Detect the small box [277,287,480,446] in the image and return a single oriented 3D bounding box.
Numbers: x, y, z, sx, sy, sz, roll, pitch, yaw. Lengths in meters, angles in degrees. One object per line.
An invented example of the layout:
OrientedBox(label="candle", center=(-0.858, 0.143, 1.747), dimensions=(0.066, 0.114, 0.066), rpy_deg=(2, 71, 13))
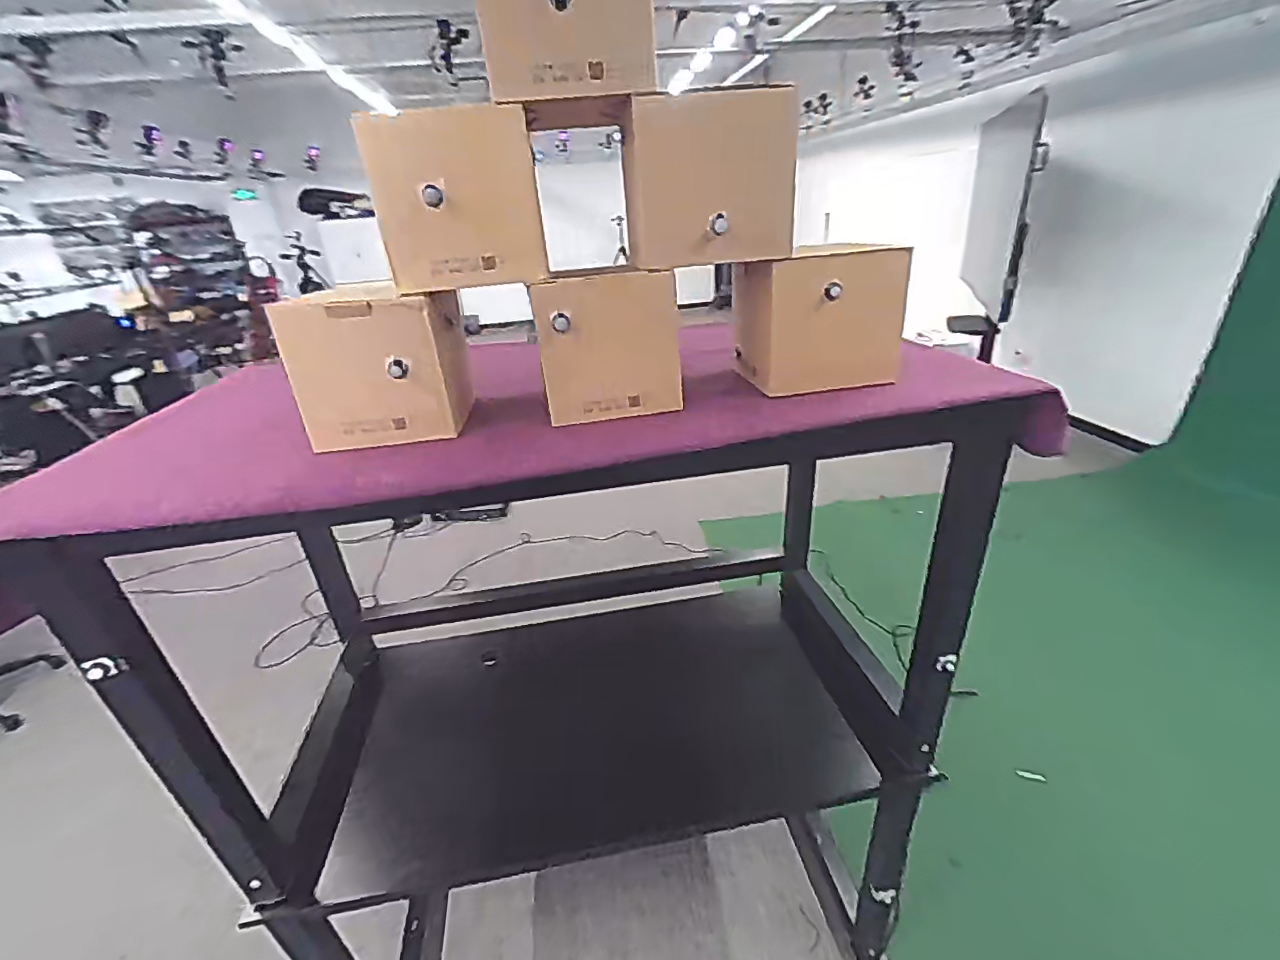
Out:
OrientedBox(label="small box", center=(-0.308, -0.147, 0.685), dimensions=(0.168, 0.176, 0.179), rpy_deg=(-6, 25, -5))

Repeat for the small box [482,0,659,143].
OrientedBox(label="small box", center=(-0.077, -0.481, 0.584), dimensions=(0.168, 0.176, 0.179), rpy_deg=(-8, 25, -6))

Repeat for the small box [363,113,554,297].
OrientedBox(label="small box", center=(-0.196, -0.313, 0.641), dimensions=(0.168, 0.176, 0.179), rpy_deg=(-8, 25, -6))

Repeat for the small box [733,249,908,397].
OrientedBox(label="small box", center=(0.236, -0.219, 0.746), dimensions=(0.179, 0.176, 0.168), rpy_deg=(-7, 26, -6))
